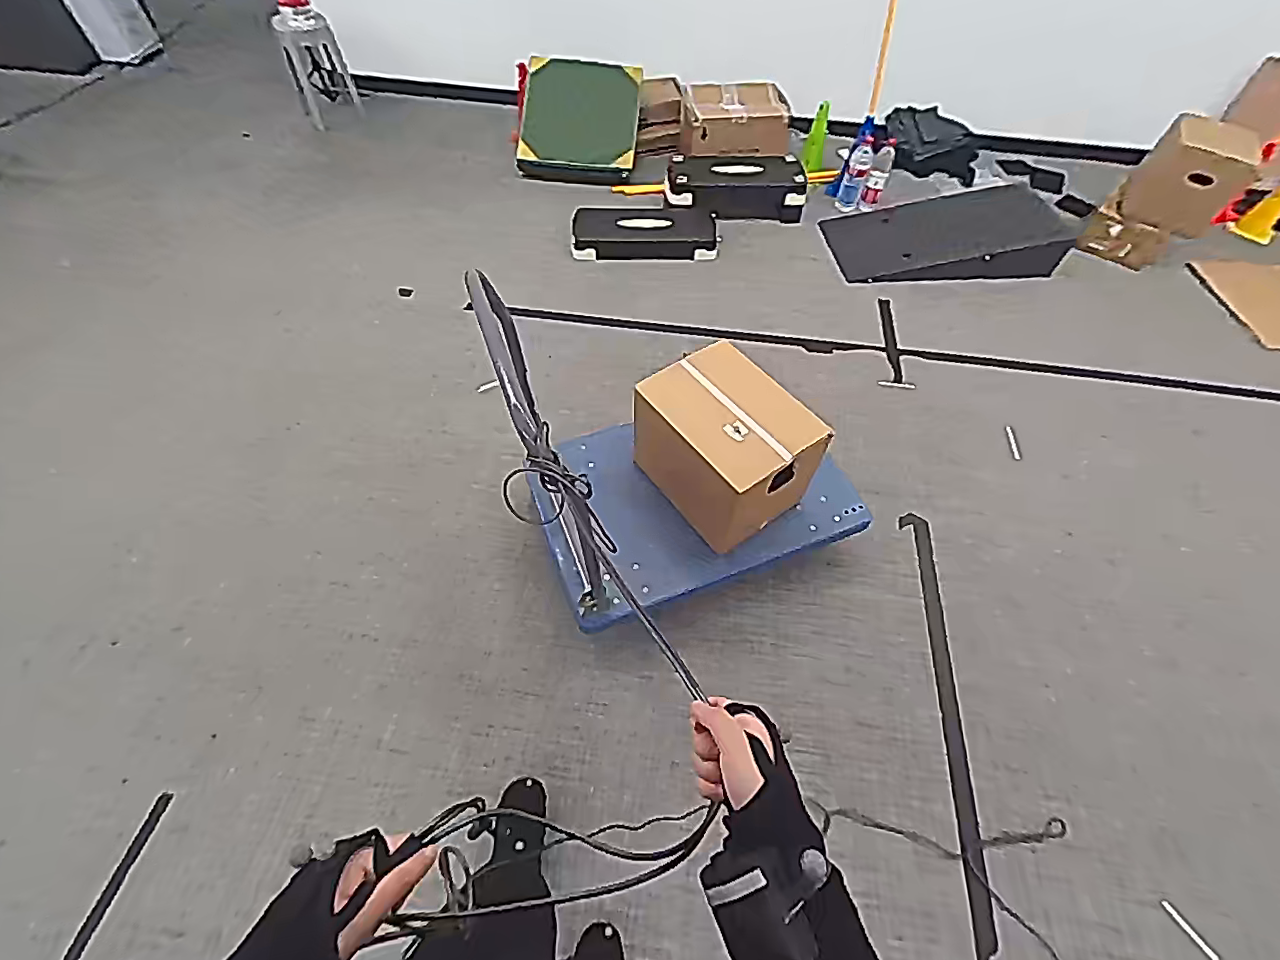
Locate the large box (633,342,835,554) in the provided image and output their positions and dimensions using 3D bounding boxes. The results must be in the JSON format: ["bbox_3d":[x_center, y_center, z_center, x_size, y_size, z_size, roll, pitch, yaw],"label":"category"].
[{"bbox_3d":[0.222,-0.087,1.444,0.320,0.320,0.408,-31,63,-20],"label":"large box"}]
